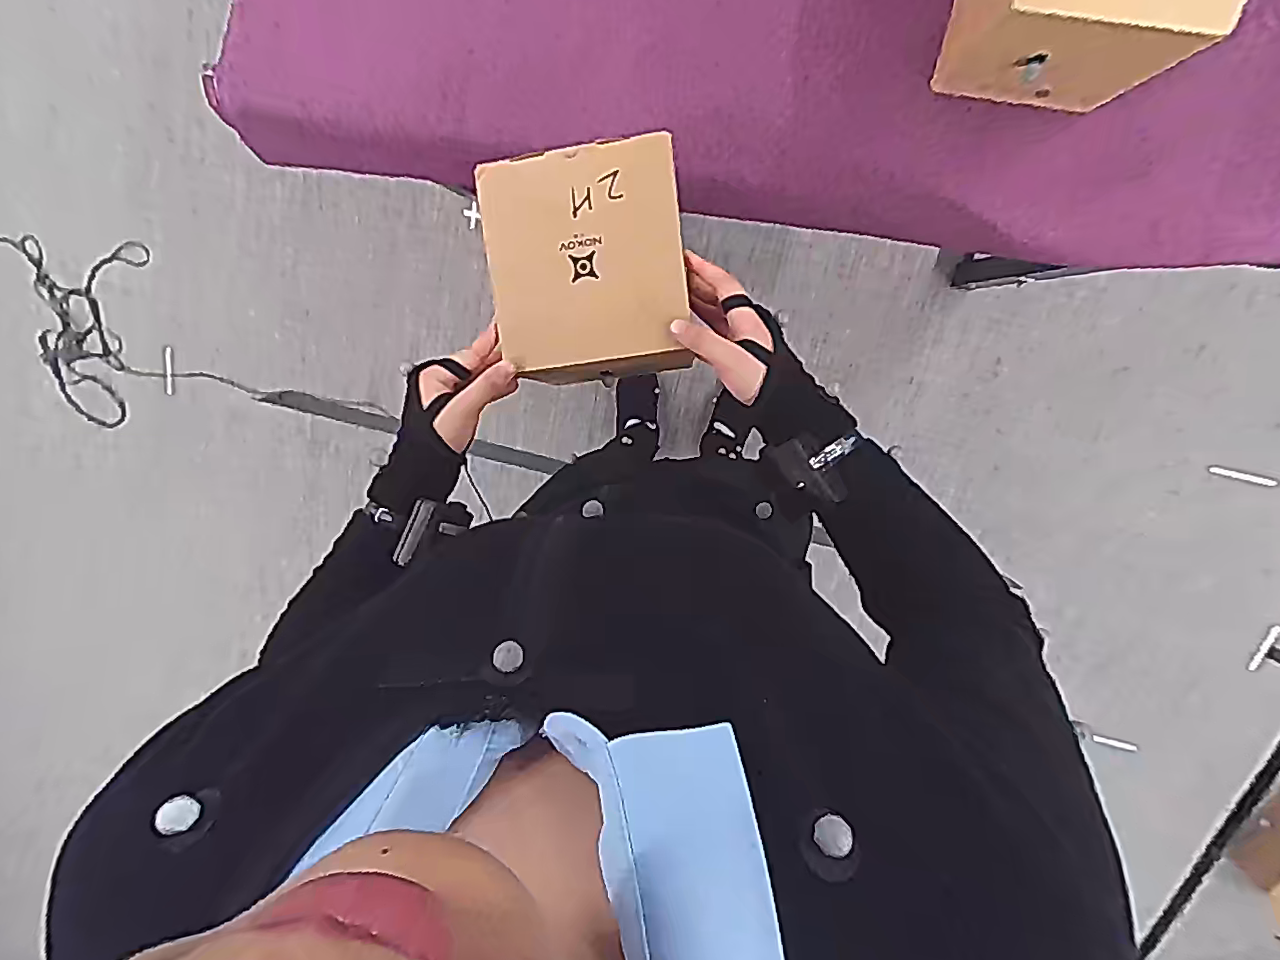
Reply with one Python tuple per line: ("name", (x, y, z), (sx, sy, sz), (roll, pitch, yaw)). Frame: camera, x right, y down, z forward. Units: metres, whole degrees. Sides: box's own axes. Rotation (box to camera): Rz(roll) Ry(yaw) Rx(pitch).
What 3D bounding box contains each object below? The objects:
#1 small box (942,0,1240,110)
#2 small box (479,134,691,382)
("small box", (0.397, -0.459, 0.474), (0.168, 0.176, 0.179), (11, 107, 4))
("small box", (-0.039, -0.195, 0.534), (0.168, 0.176, 0.179), (-7, 94, 5))
